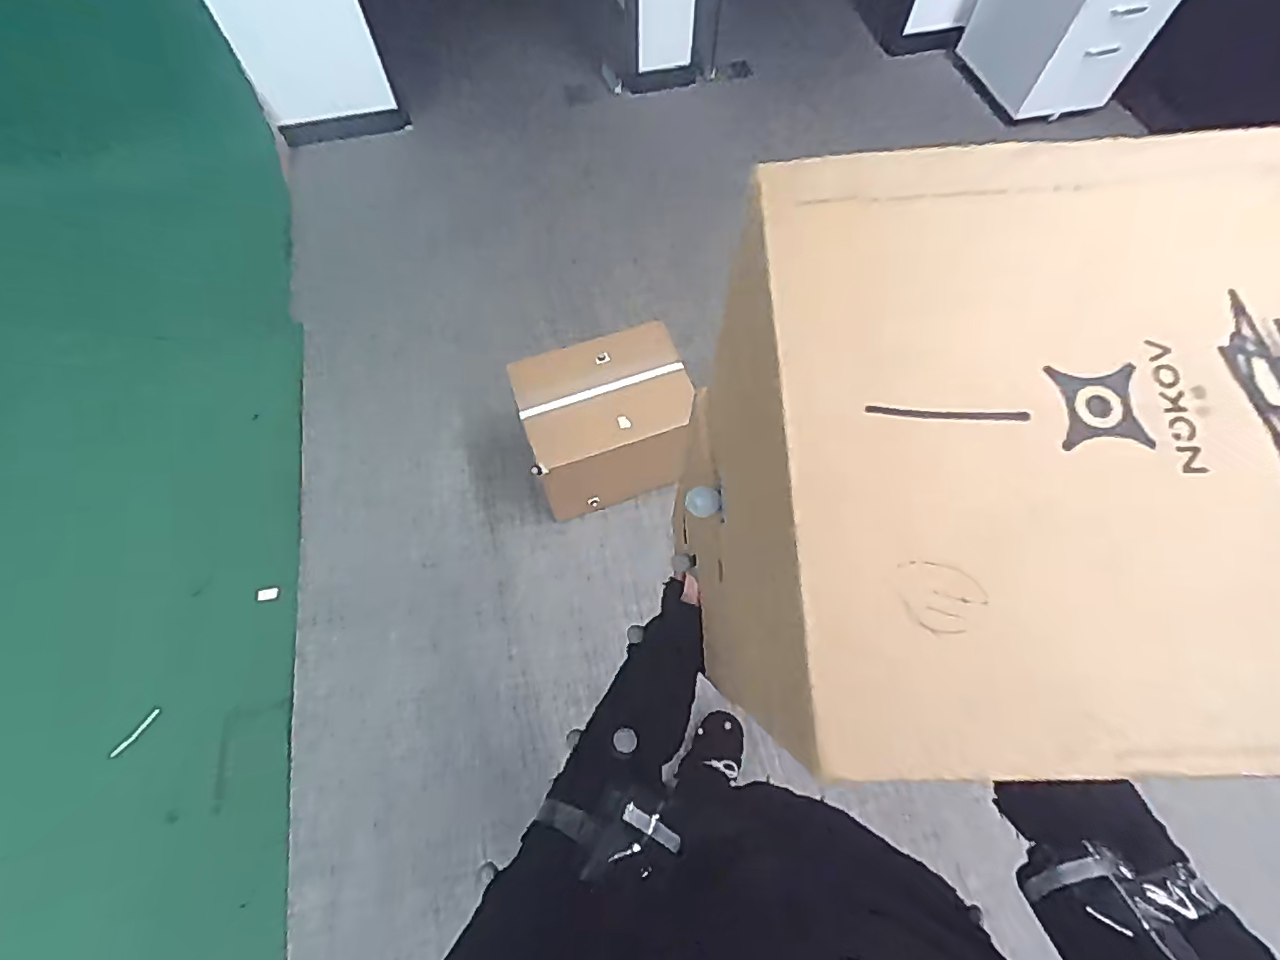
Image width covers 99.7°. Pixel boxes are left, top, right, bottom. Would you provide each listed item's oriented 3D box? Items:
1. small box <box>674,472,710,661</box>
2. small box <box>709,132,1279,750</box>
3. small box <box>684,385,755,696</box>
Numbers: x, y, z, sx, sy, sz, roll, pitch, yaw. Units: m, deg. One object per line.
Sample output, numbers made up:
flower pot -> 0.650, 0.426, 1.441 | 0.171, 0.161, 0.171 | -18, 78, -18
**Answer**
small box -> 0.127, 0.086, 0.534 | 0.179, 0.176, 0.168 | -4, 75, -2
small box -> 0.126, 0.000, 0.216 | 0.179, 0.176, 0.168 | -2, 75, 2
small box -> 0.122, 0.040, 0.377 | 0.168, 0.176, 0.179 | -5, 76, 0
